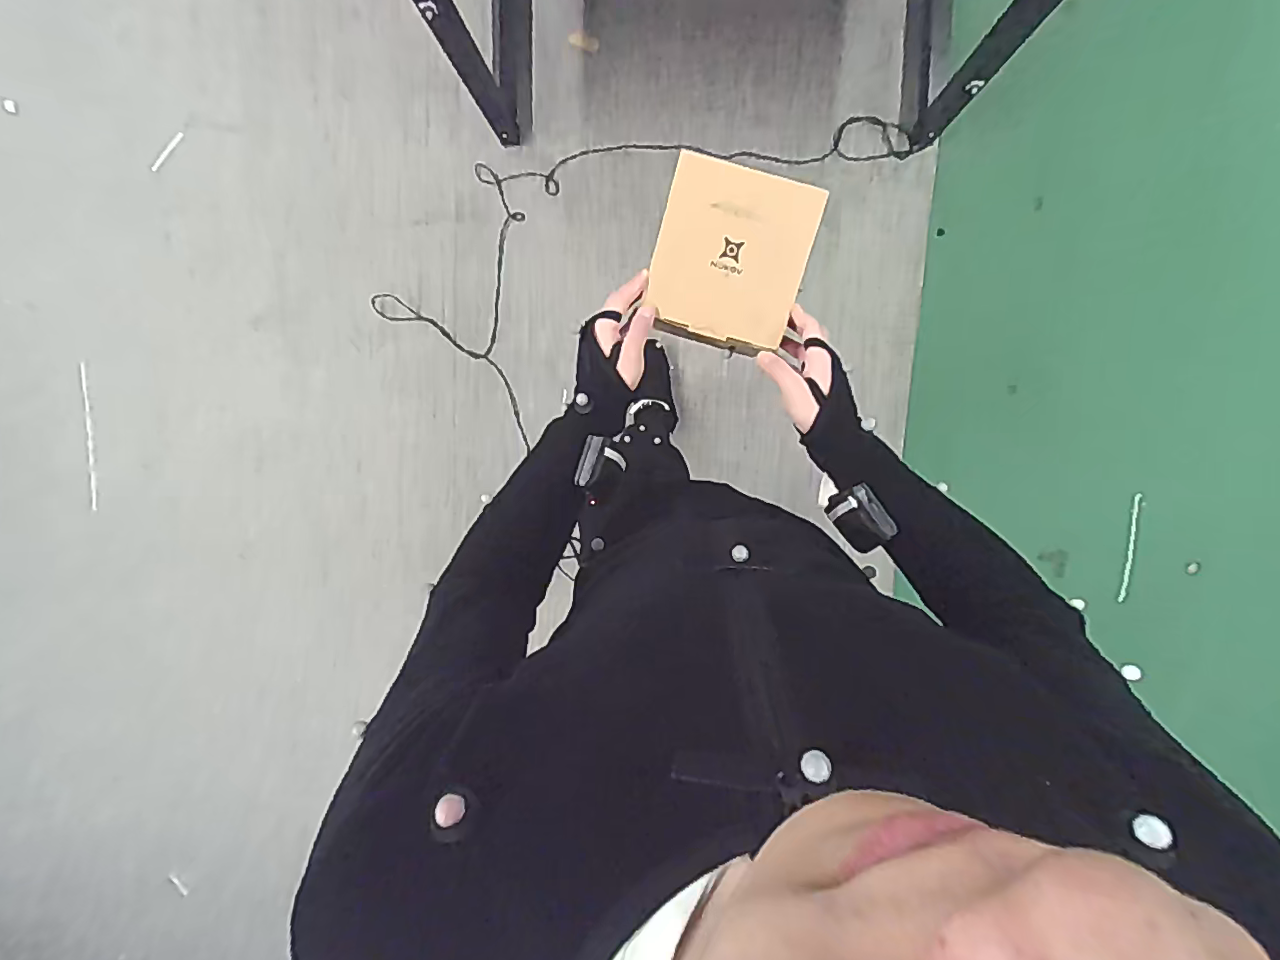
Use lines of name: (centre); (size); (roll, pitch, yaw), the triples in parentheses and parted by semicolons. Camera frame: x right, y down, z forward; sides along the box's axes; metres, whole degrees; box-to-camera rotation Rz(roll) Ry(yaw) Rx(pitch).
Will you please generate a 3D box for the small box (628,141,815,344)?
small box: (0.093, -0.274, 0.671); (0.168, 0.176, 0.179); (17, 103, 0)
